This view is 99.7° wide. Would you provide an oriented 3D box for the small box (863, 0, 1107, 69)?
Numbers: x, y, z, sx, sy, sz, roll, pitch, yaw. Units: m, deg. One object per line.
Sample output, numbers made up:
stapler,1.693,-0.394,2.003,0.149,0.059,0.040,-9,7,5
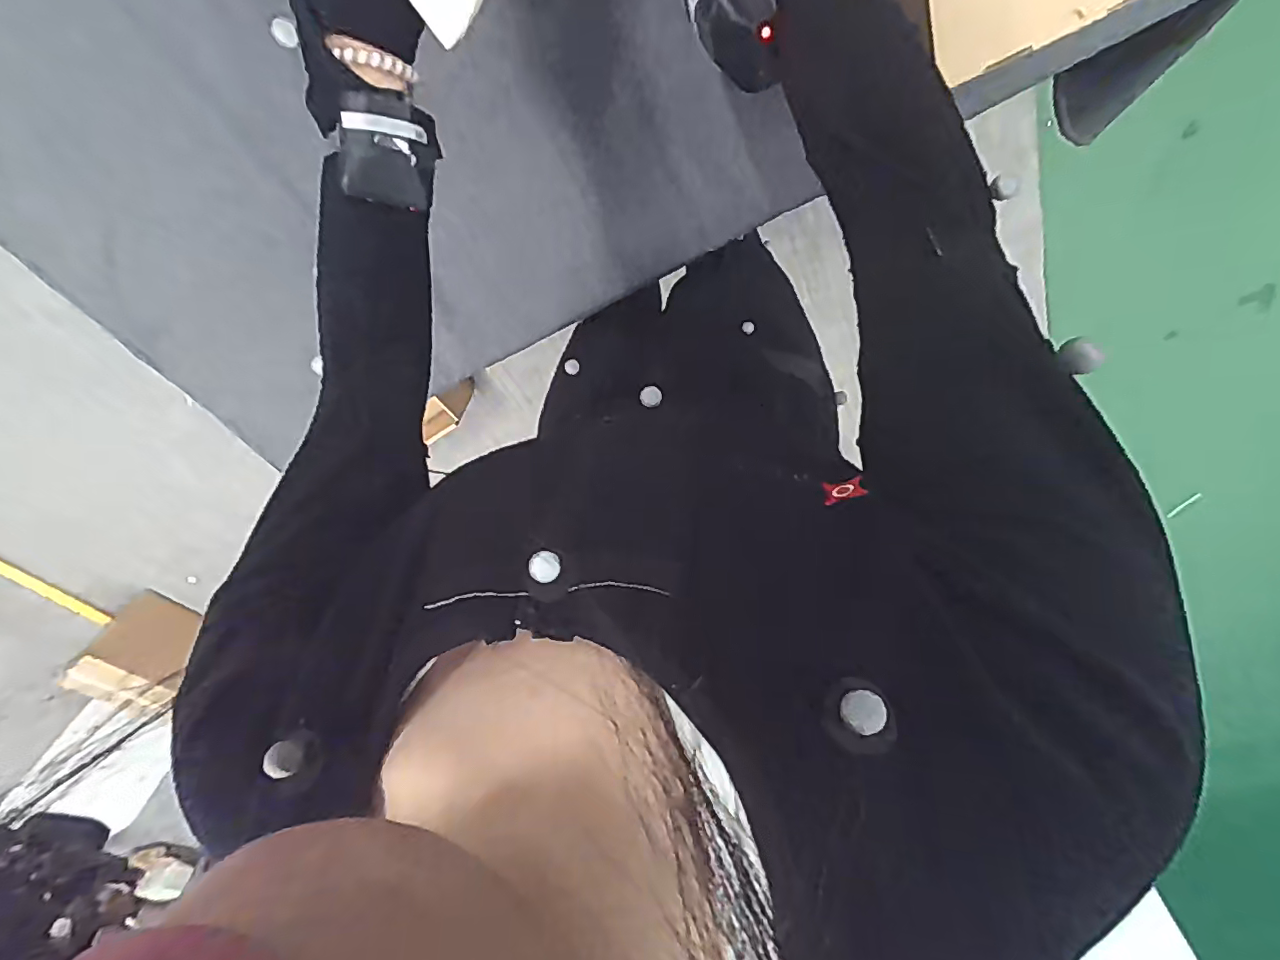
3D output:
small box,0.250,-0.412,0.361,0.168,0.176,0.179,-18,127,16
